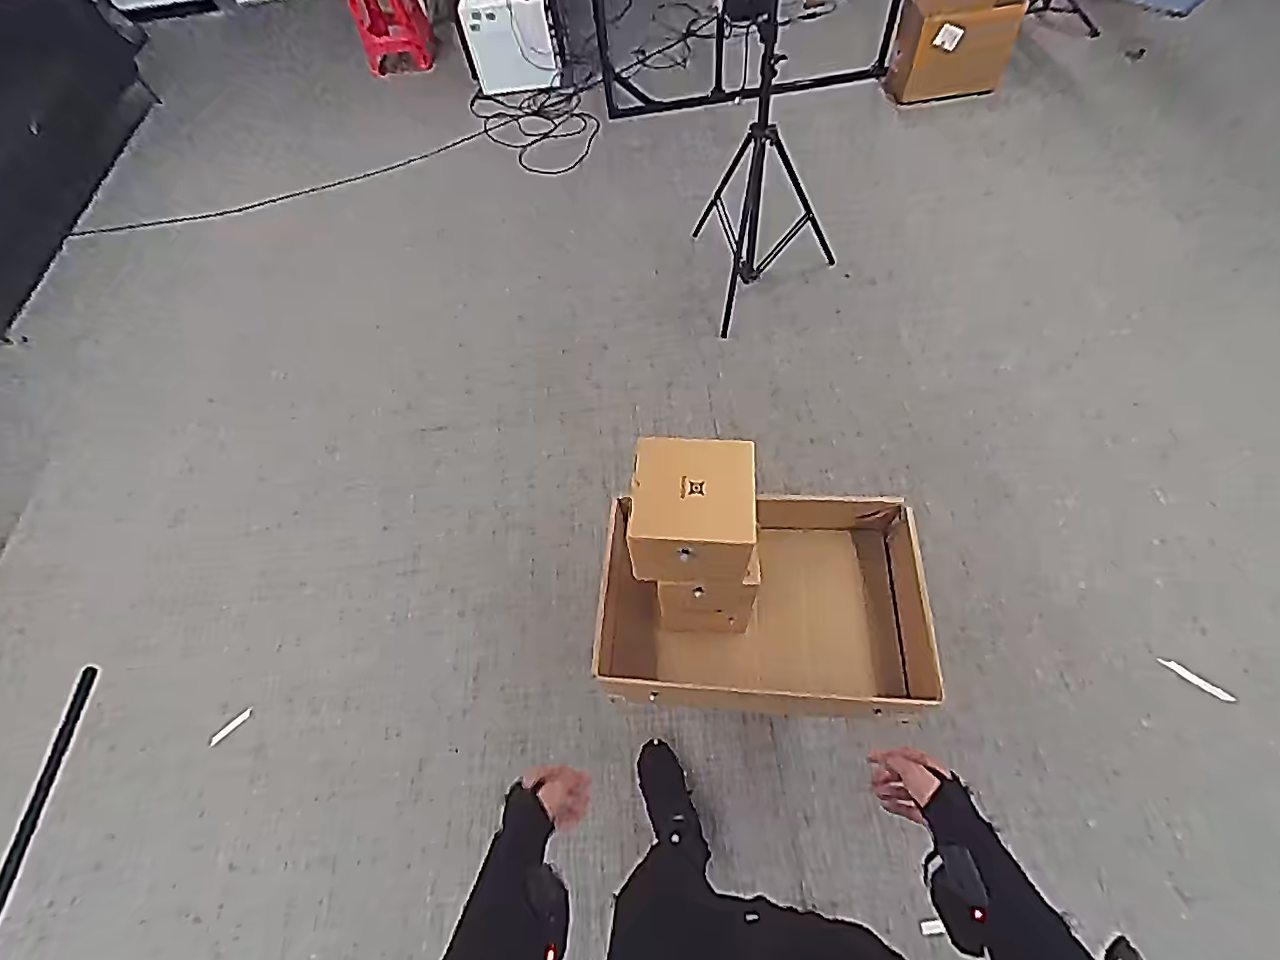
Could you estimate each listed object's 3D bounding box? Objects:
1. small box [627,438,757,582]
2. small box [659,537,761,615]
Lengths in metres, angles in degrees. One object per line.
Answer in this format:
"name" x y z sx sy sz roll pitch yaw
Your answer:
"small box" 0.081 0.051 0.829 0.179 0.176 0.168 2 61 6
"small box" 0.118 0.131 0.968 0.168 0.176 0.179 -1 60 5
